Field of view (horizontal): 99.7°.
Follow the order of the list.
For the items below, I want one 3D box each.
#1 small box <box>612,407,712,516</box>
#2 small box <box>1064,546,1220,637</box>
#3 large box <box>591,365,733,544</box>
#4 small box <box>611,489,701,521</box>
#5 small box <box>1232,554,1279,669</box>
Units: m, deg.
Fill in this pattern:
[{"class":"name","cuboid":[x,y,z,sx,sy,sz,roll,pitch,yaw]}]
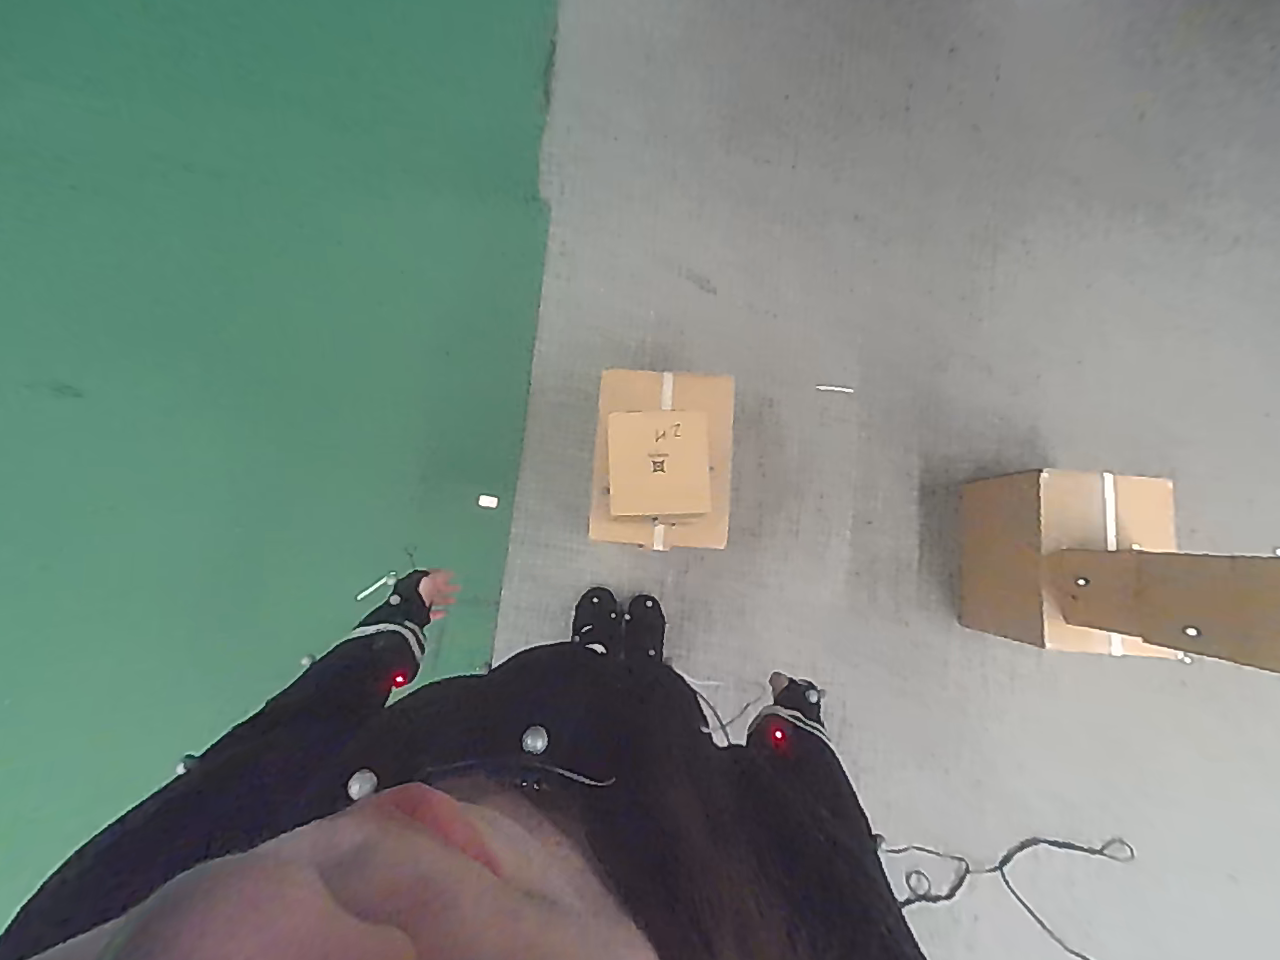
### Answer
[{"class":"small box","cuboid":[0.037,-0.025,0.966,0.168,0.176,0.179,-1,83,-1]},{"class":"small box","cuboid":[1.034,0.225,1.126,0.179,0.176,0.168,2,84,1]},{"class":"large box","cuboid":[0.053,-0.044,1.379,0.320,0.320,0.408,4,83,-1]},{"class":"small box","cuboid":[0.034,-0.002,1.129,0.179,0.176,0.168,3,83,1]},{"class":"small box","cuboid":[1.042,0.206,0.797,0.168,0.176,0.179,6,86,1]}]
